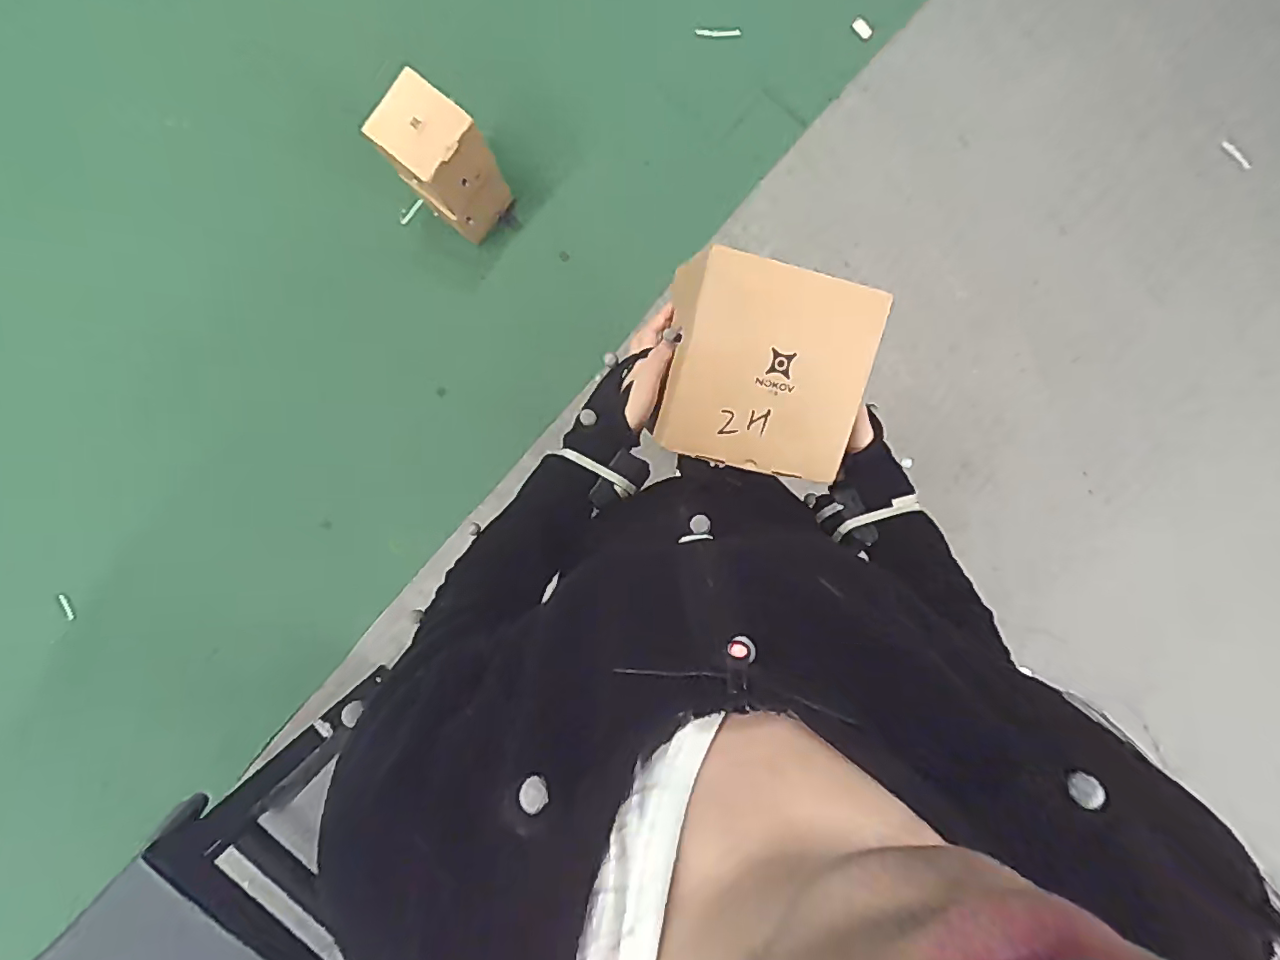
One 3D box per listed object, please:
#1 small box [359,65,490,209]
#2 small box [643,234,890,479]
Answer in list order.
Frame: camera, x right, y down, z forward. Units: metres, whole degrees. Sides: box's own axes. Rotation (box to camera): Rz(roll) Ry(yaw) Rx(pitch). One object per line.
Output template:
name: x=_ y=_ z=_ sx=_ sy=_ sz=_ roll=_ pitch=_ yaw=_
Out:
small box: x=-0.464 y=-0.741 z=1.192 sx=0.179 sy=0.176 sz=0.168 roll=38 pitch=93 yaw=-2
small box: x=0.105 y=-0.117 z=0.537 sx=0.168 sy=0.176 sz=0.179 roll=12 pitch=103 yaw=-9
